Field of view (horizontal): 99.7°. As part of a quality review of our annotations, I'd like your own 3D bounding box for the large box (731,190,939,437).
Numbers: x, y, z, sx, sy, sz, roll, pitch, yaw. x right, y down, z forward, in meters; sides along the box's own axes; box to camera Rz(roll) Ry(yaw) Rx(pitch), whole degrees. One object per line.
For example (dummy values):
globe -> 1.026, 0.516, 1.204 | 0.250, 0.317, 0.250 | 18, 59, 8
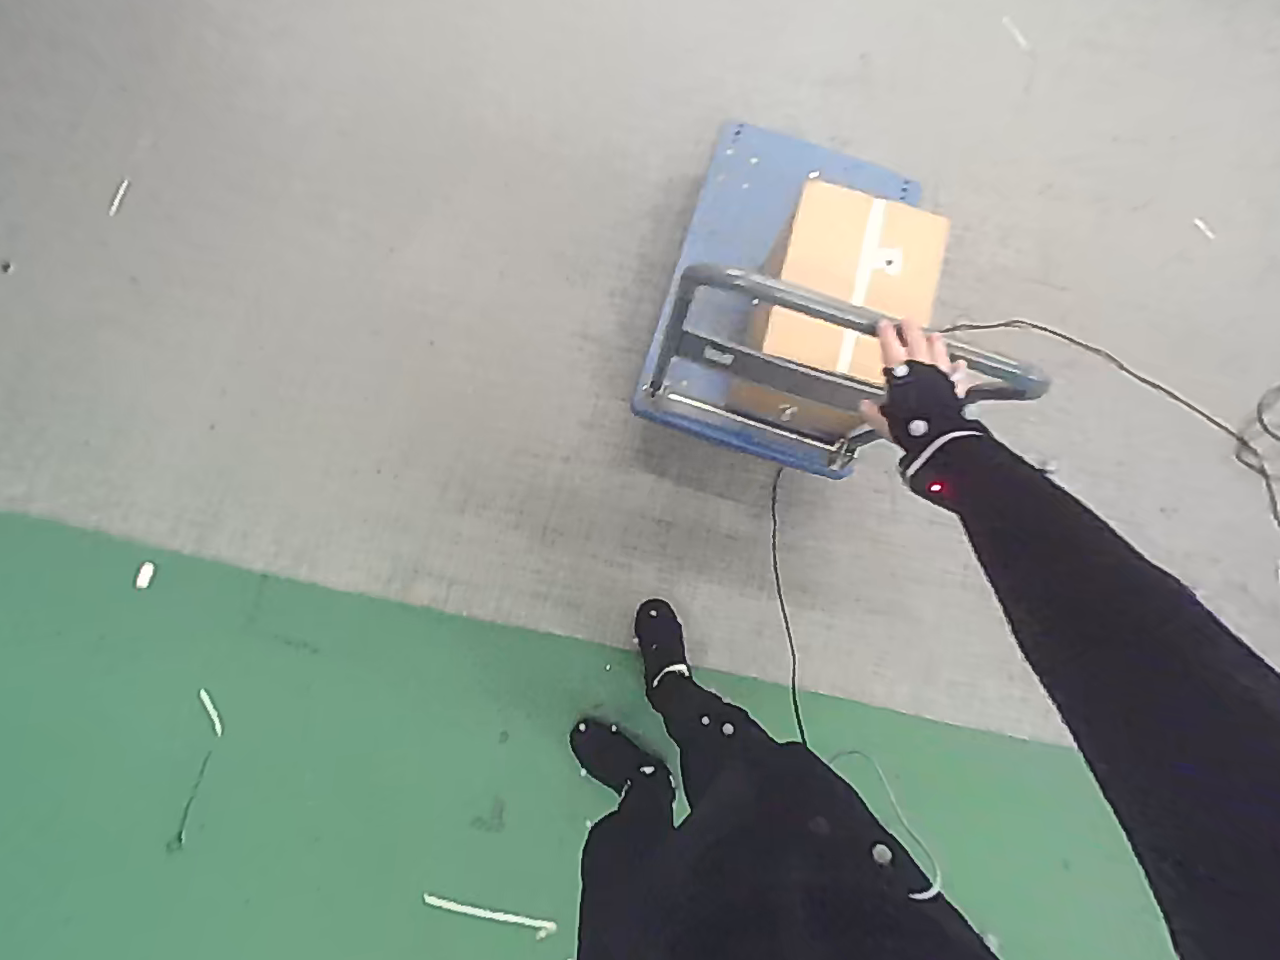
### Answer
large box -> 0.424, -0.354, 1.239 | 0.320, 0.320, 0.408 | 16, 79, -2
